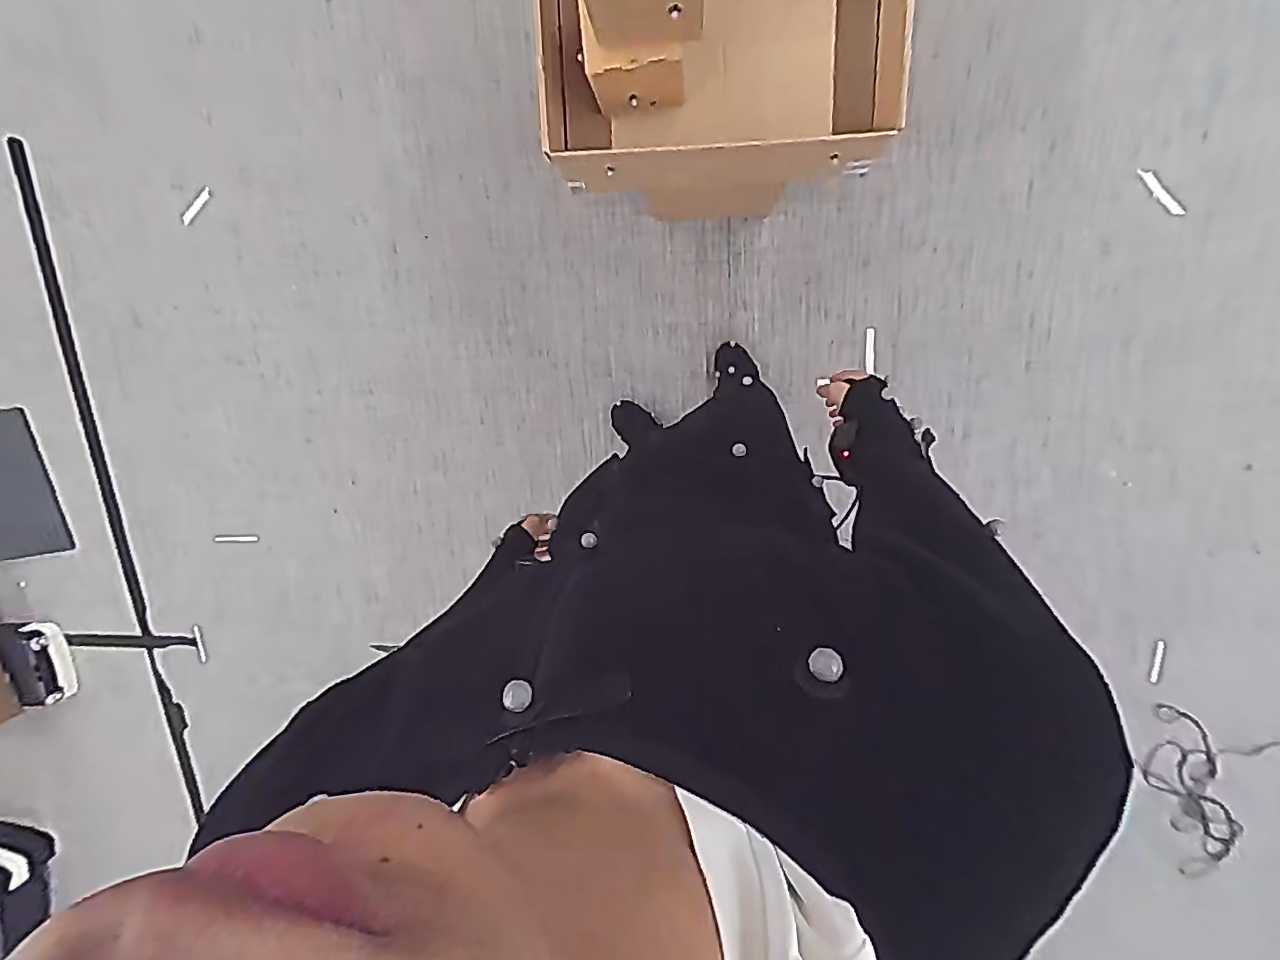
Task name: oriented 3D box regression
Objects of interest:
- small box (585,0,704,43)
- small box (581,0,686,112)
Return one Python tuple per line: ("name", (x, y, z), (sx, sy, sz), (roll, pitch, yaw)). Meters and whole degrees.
("small box", (0.008, -0.772, 0.777), (0.179, 0.176, 0.168), (-1, 102, 5))
("small box", (-0.008, -0.786, 0.944), (0.168, 0.176, 0.179), (-5, 103, 7))
